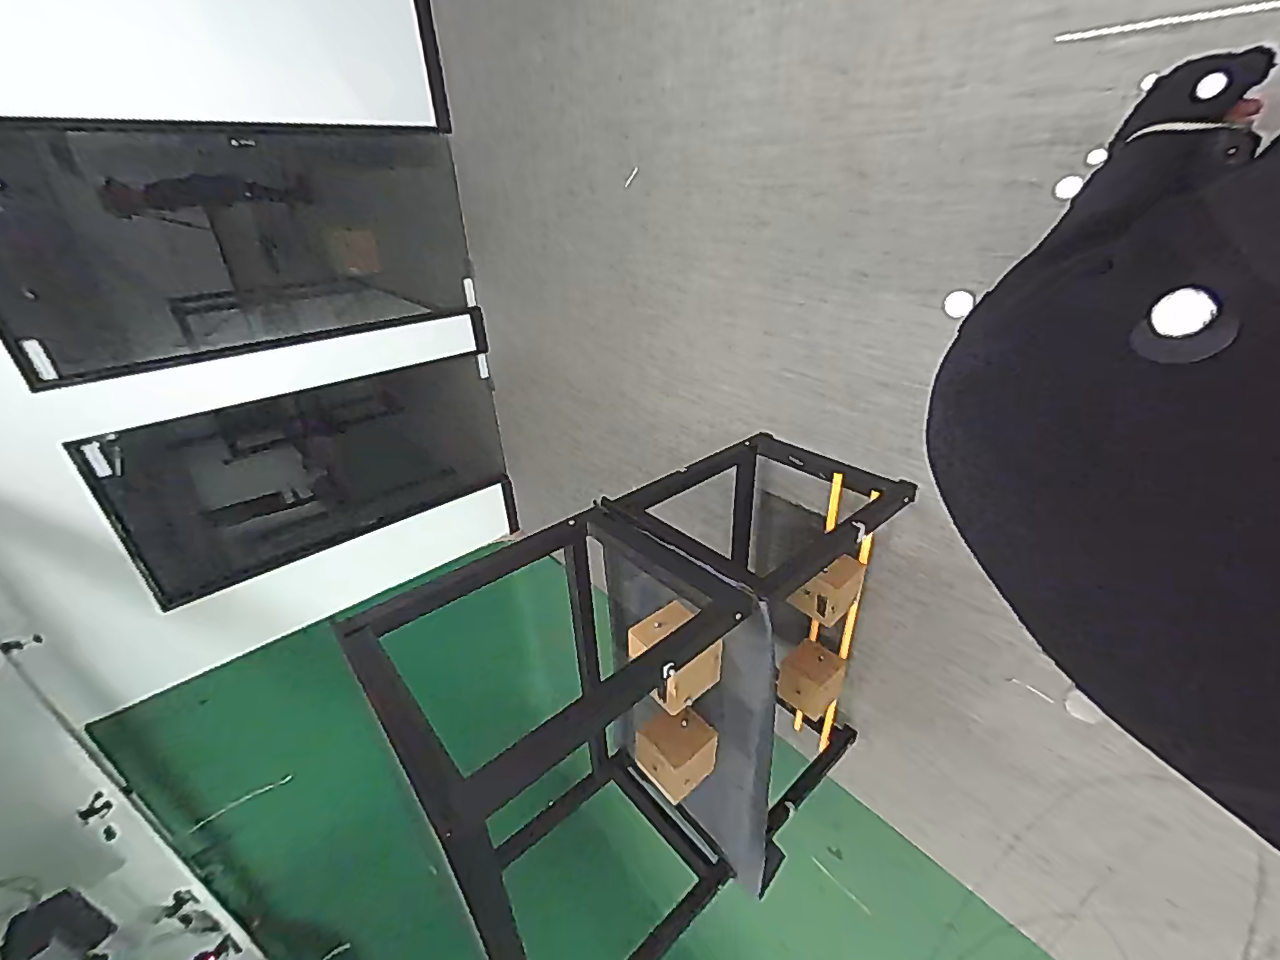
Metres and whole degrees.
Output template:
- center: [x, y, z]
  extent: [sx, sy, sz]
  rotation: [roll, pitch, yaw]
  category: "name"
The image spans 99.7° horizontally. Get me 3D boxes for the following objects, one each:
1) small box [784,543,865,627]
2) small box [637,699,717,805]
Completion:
- center: [0.594, 0.329, 1.741]
  extent: [0.179, 0.176, 0.168]
  rotation: [30, 132, 40]
  category: "small box"
- center: [0.106, 0.778, 1.559]
  extent: [0.168, 0.176, 0.179]
  rotation: [30, 132, 40]
  category: "small box"
